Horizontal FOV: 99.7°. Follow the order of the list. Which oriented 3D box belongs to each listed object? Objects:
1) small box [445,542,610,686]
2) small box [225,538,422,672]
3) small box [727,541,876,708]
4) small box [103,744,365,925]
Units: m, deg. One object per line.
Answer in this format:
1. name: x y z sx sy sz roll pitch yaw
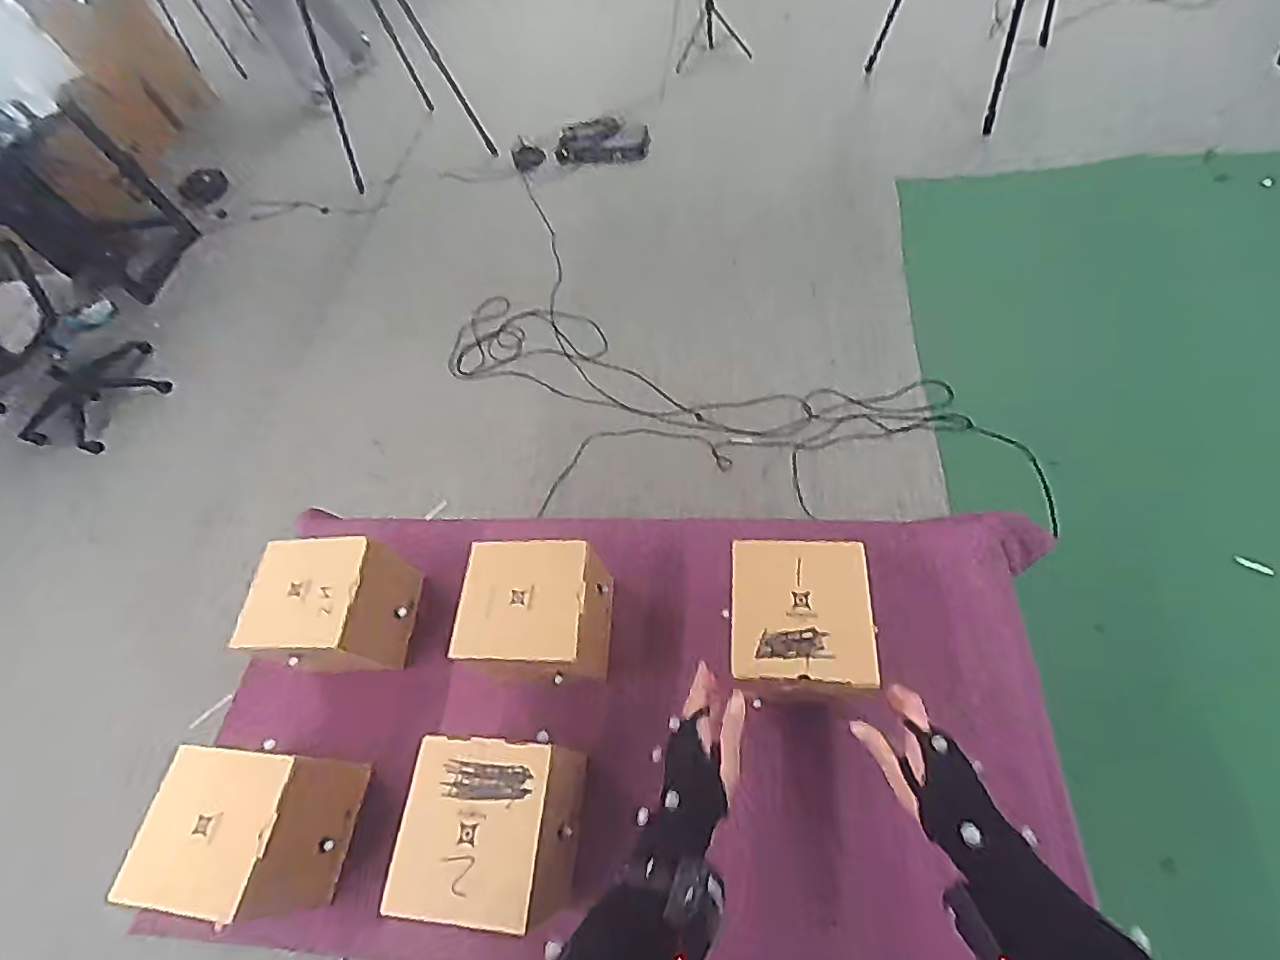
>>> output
1. small box: -0.147 0.198 0.787 0.179 0.176 0.168 -2 59 11
2. small box: -0.480 0.202 0.849 0.179 0.176 0.168 -3 60 9
3. small box: 0.204 0.195 0.714 0.168 0.176 0.179 0 59 12
4. small box: -0.506 0.453 0.705 0.179 0.176 0.168 0 58 11
